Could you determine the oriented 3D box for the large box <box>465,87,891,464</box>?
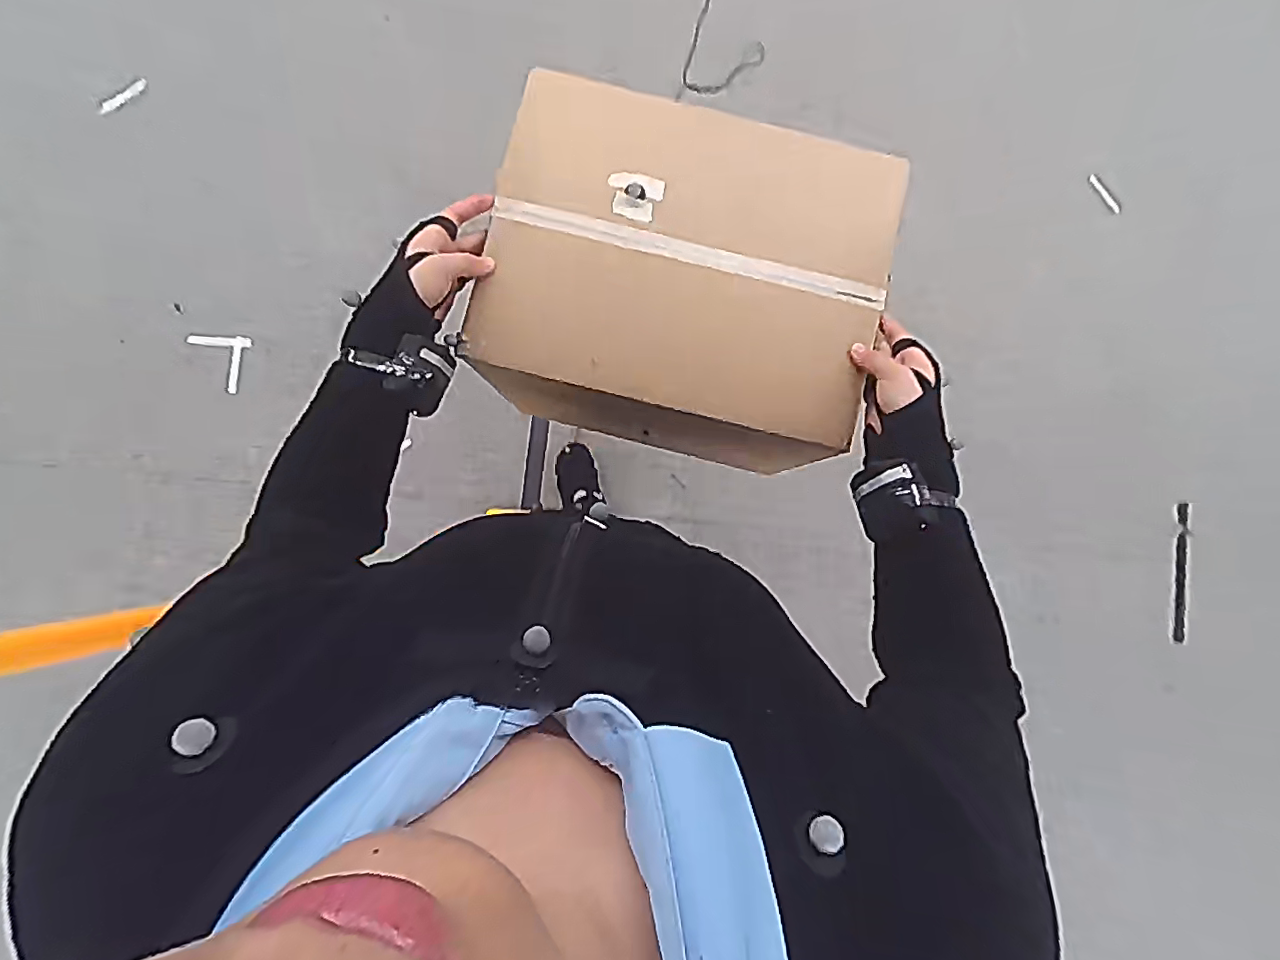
[{"bbox_3d":[0.044,-0.220,0.711,0.408,0.320,0.320,13,84,0],"label":"large box"}]
